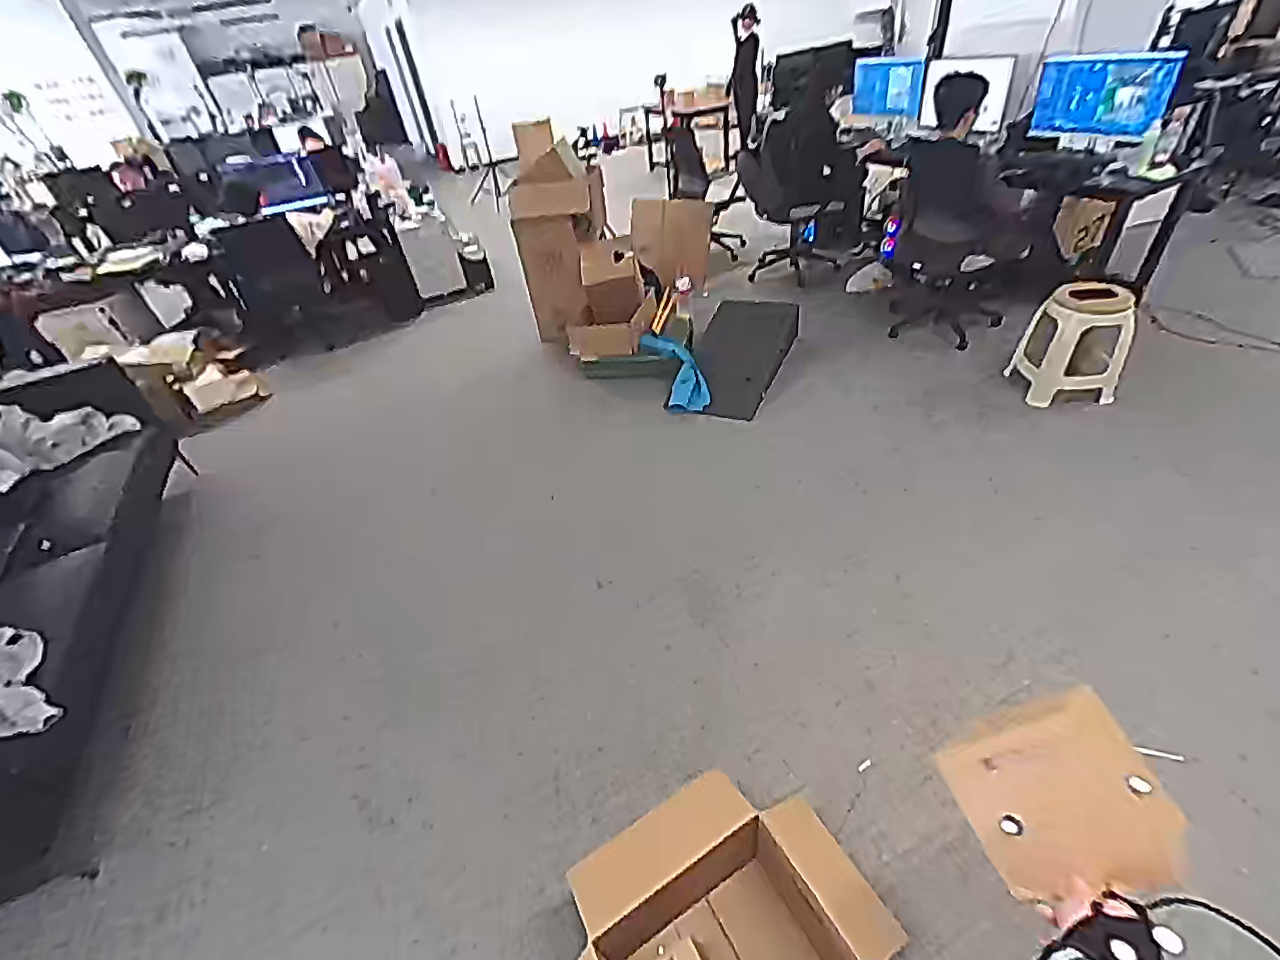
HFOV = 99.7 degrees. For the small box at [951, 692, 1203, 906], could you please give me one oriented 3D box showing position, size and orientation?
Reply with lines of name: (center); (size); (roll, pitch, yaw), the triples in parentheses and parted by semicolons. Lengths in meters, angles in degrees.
small box: (0.520, 0.377, 0.657); (0.179, 0.168, 0.176); (5, 54, -42)
